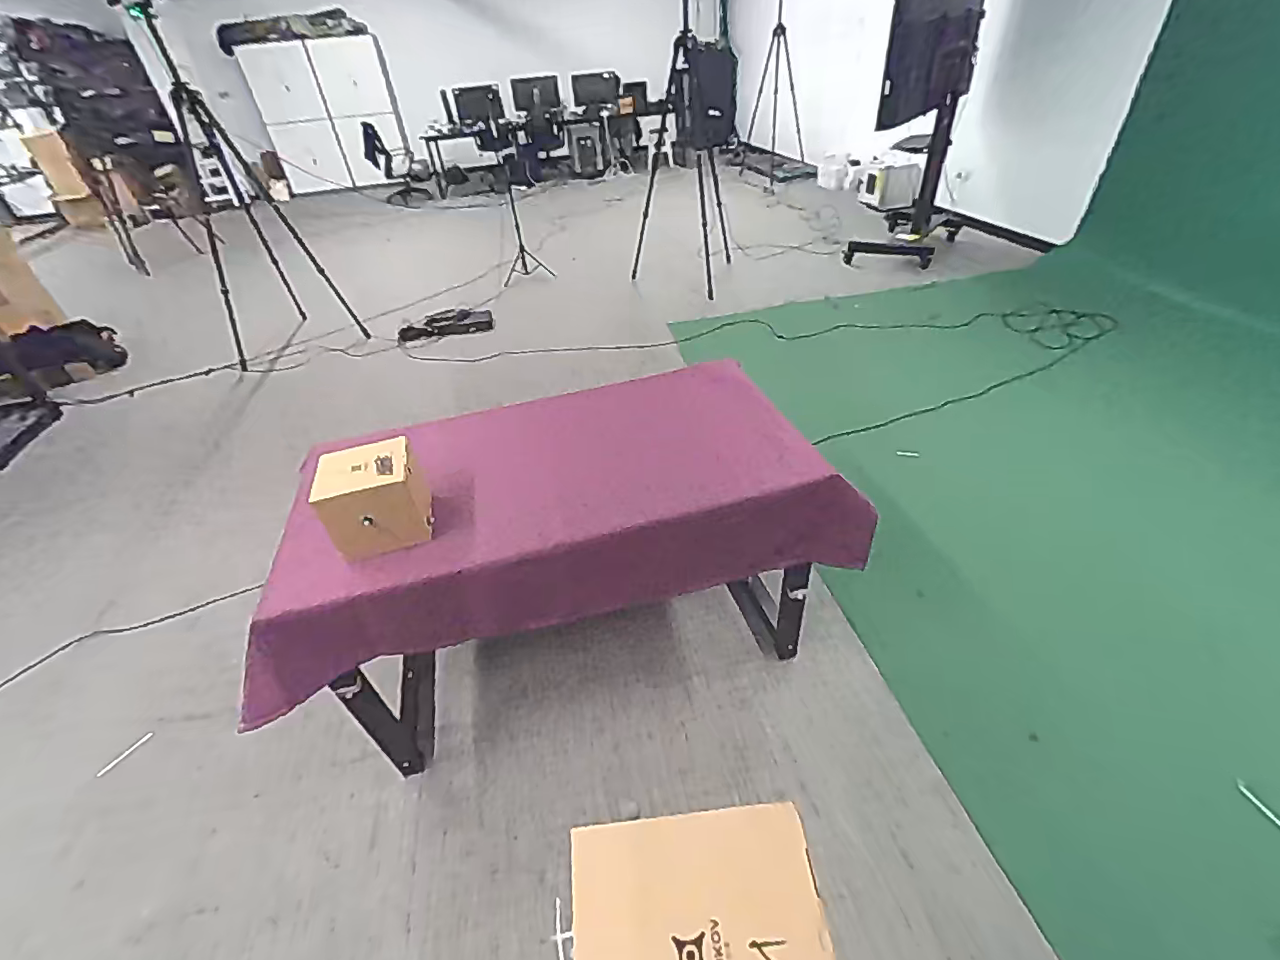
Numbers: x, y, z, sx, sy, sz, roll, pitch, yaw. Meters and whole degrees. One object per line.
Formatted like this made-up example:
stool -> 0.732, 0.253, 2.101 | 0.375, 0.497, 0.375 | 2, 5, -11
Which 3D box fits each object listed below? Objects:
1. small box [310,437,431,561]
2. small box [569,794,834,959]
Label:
small box -> -0.545, 0.039, 1.124 | 0.179, 0.176, 0.168 | -16, 40, -10
small box -> 0.045, 0.360, 0.425 | 0.179, 0.176, 0.168 | -6, 53, -1
